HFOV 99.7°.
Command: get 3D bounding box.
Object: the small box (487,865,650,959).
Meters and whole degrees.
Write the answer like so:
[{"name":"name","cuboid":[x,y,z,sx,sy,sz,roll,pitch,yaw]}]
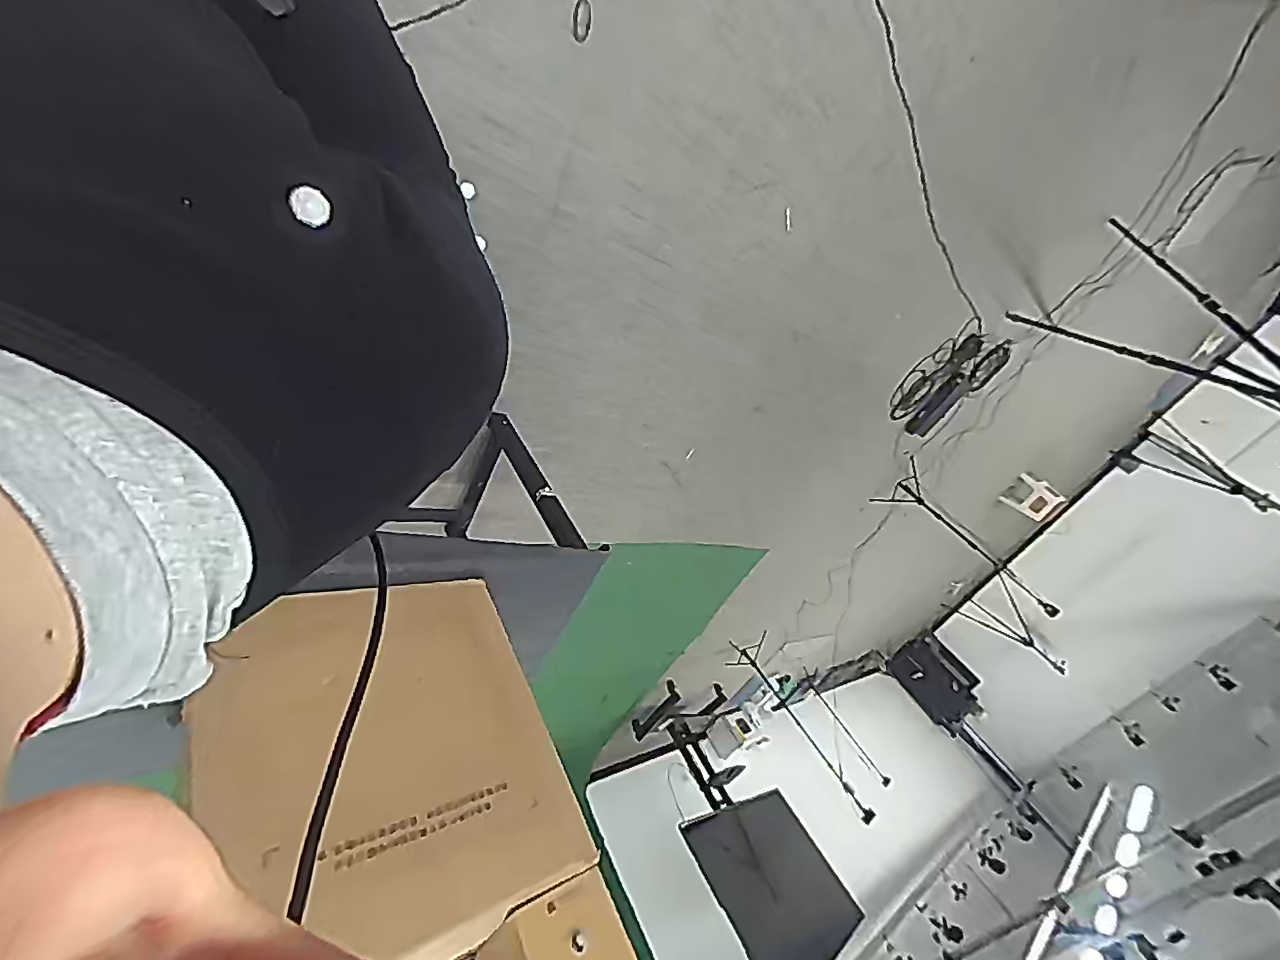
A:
[{"name":"small box","cuboid":[-0.120,0.756,0.857,0.168,0.176,0.179,3,127,-43]}]
